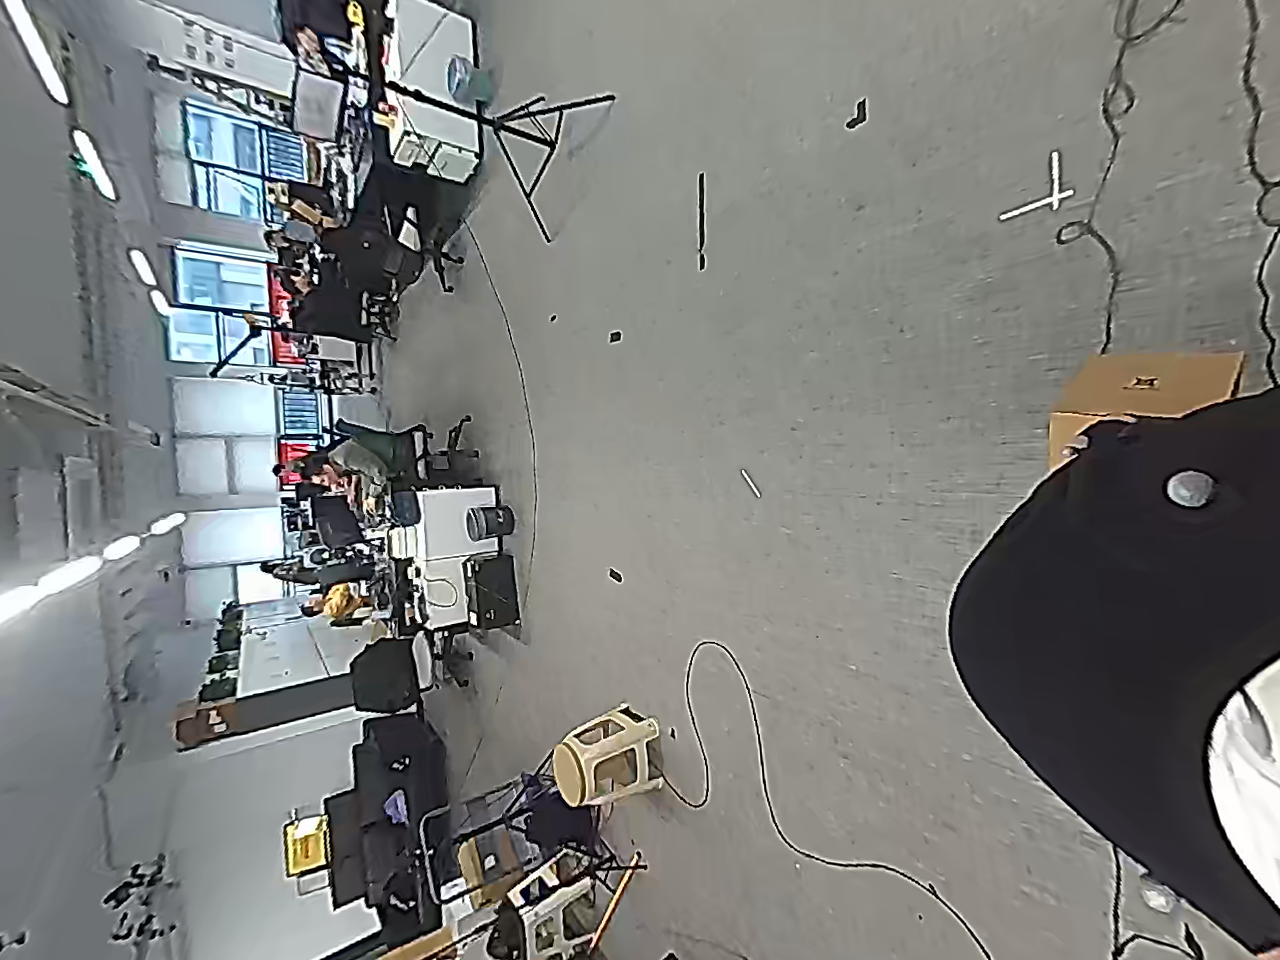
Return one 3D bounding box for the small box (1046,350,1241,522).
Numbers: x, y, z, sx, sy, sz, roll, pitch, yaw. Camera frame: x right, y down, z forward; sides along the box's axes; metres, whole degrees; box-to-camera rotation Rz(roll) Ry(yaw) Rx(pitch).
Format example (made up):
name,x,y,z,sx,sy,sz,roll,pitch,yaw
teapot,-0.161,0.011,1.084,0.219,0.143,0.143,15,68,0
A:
name,x,y,z,sx,sy,sz,roll,pitch,yaw
small box,0.698,-0.065,0.759,0.168,0.179,0.176,14,137,48
